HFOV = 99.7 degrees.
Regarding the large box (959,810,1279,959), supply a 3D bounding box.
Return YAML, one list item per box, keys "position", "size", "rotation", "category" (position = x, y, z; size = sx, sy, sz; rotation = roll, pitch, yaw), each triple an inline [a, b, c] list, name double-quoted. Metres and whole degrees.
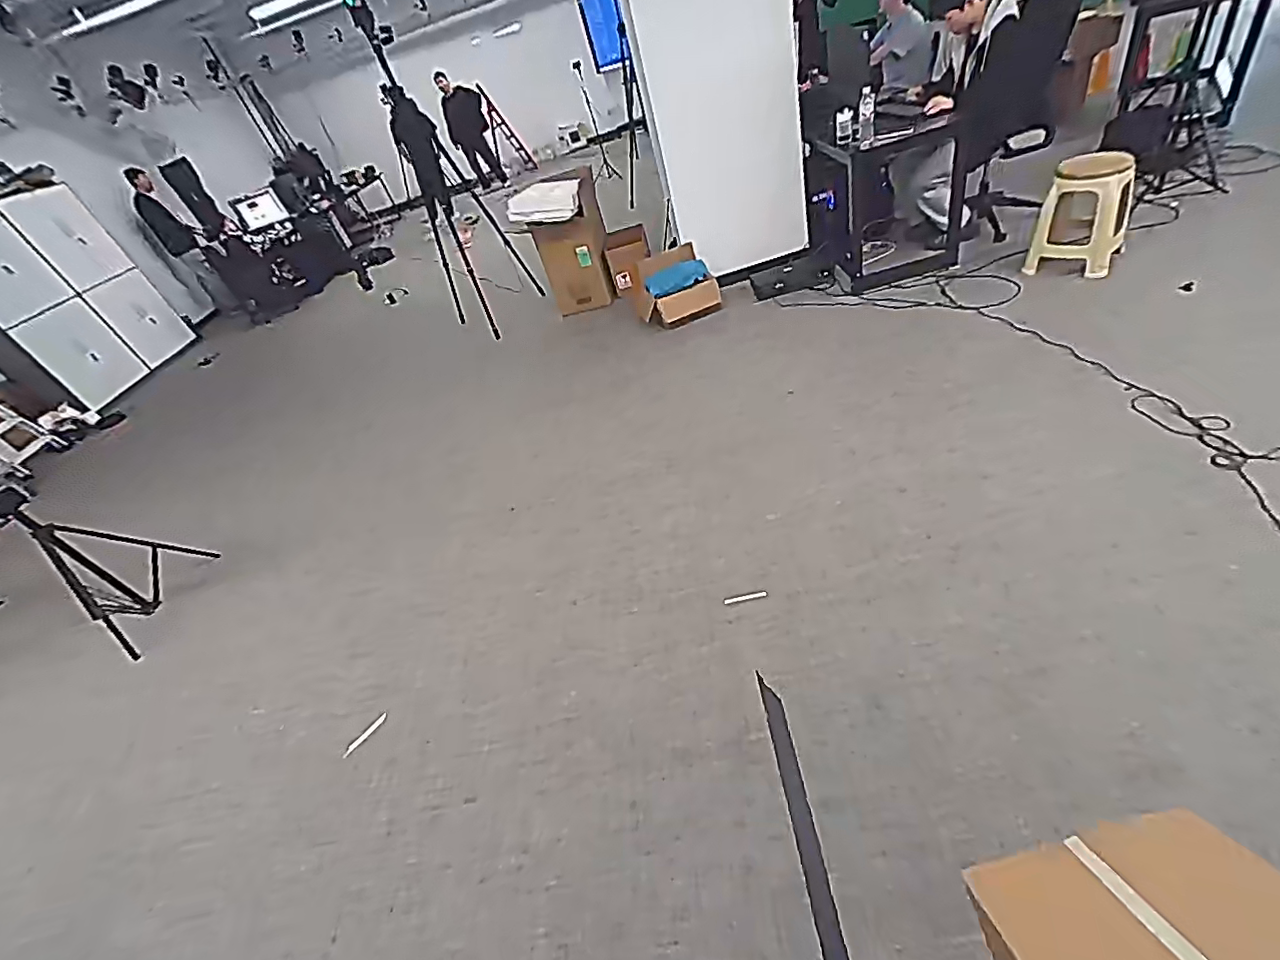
- position: [0.622, 0.642, 0.549]
  size: [0.320, 0.320, 0.408]
  rotation: [-23, -1, 6]
  category: "large box"
